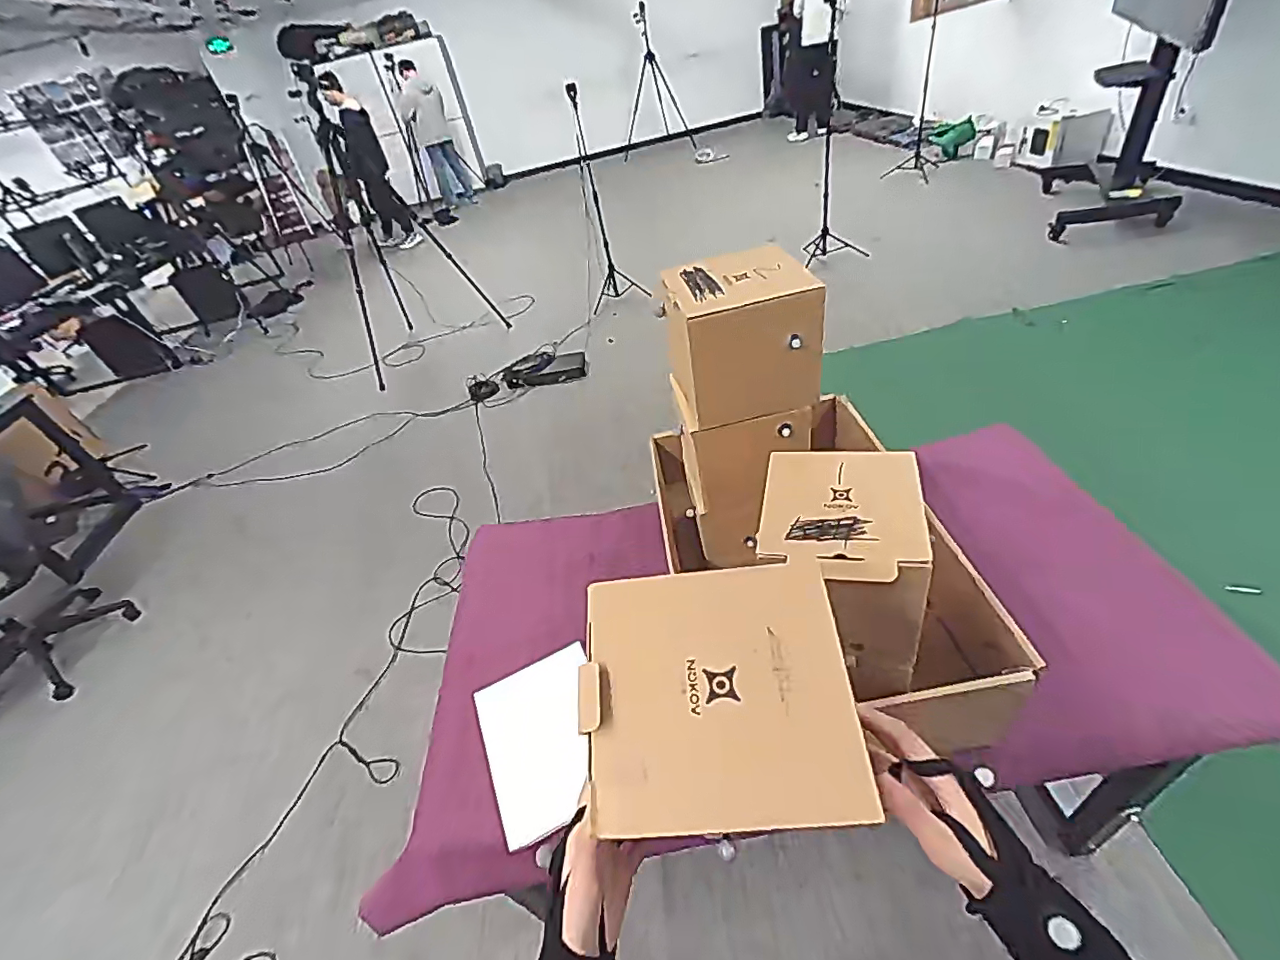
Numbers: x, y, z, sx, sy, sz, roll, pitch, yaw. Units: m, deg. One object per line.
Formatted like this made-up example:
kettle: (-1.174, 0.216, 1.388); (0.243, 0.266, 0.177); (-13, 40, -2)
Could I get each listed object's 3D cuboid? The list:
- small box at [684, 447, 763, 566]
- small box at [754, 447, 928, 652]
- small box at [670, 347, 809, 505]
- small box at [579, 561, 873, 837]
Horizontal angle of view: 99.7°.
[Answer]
small box: (0.182, 0.036, 0.966); (0.168, 0.176, 0.179); (-12, 42, 3)
small box: (0.235, 0.079, 0.638); (0.168, 0.176, 0.179); (1, 41, 20)
small box: (0.157, -0.081, 0.857); (0.179, 0.176, 0.168); (-13, 42, 1)
small box: (0.059, 0.180, 0.425); (0.179, 0.176, 0.168); (-7, 57, 6)
